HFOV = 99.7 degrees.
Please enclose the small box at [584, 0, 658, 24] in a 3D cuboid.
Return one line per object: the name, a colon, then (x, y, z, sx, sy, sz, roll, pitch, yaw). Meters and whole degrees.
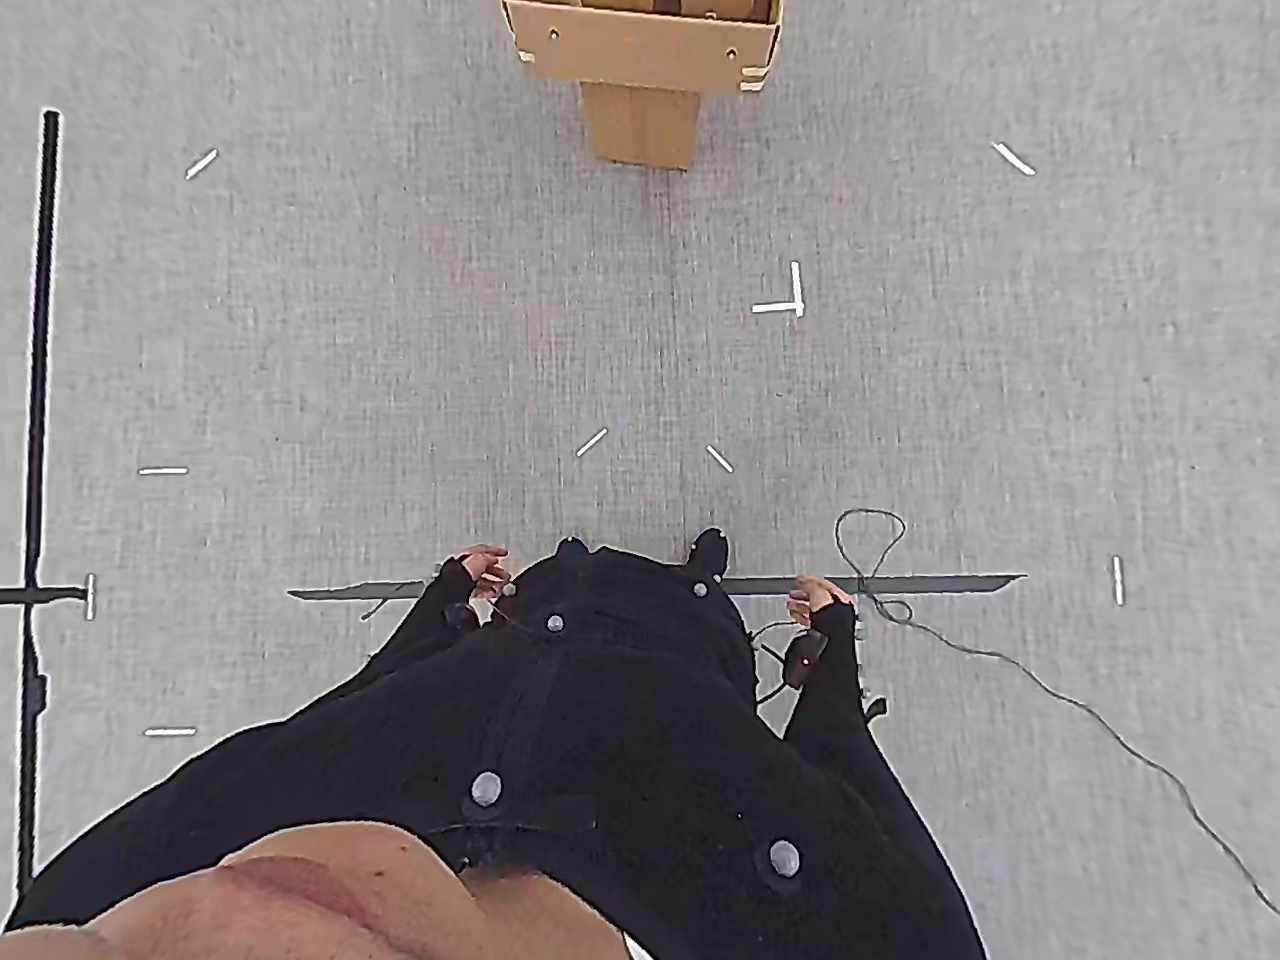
small box: (-0.035, -1.196, 1.235, 0.179, 0.176, 0.168, 10, 86, 2)
